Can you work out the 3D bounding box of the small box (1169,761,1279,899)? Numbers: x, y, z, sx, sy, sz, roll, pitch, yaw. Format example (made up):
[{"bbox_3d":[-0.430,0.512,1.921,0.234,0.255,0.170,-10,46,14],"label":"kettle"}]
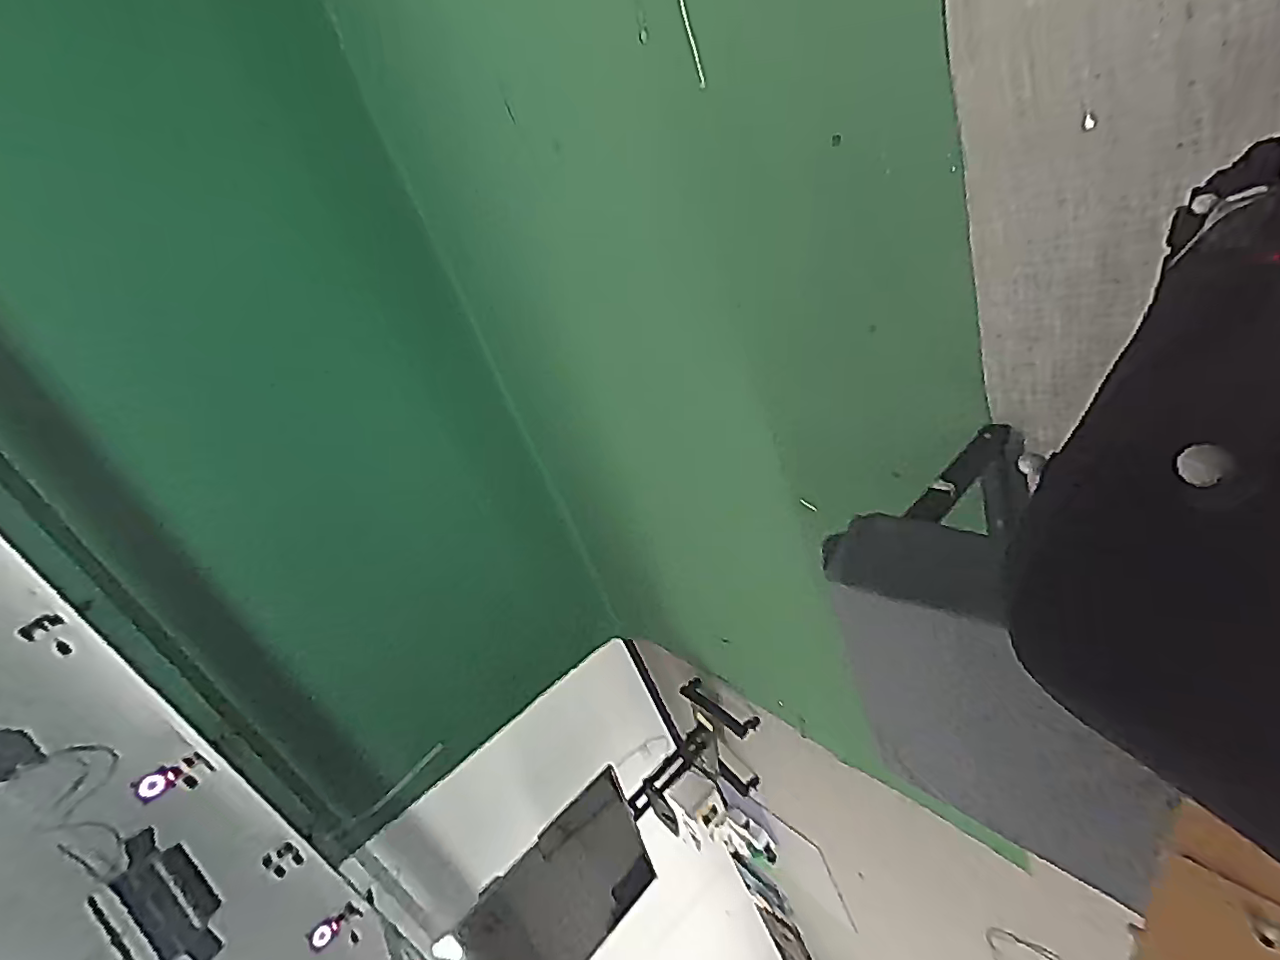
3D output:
[{"bbox_3d":[0.781,0.478,0.647,0.179,0.176,0.168,9,128,56],"label":"small box"}]

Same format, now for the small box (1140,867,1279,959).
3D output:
[{"bbox_3d":[0.661,0.558,0.569,0.179,0.176,0.168,15,133,53],"label":"small box"}]
